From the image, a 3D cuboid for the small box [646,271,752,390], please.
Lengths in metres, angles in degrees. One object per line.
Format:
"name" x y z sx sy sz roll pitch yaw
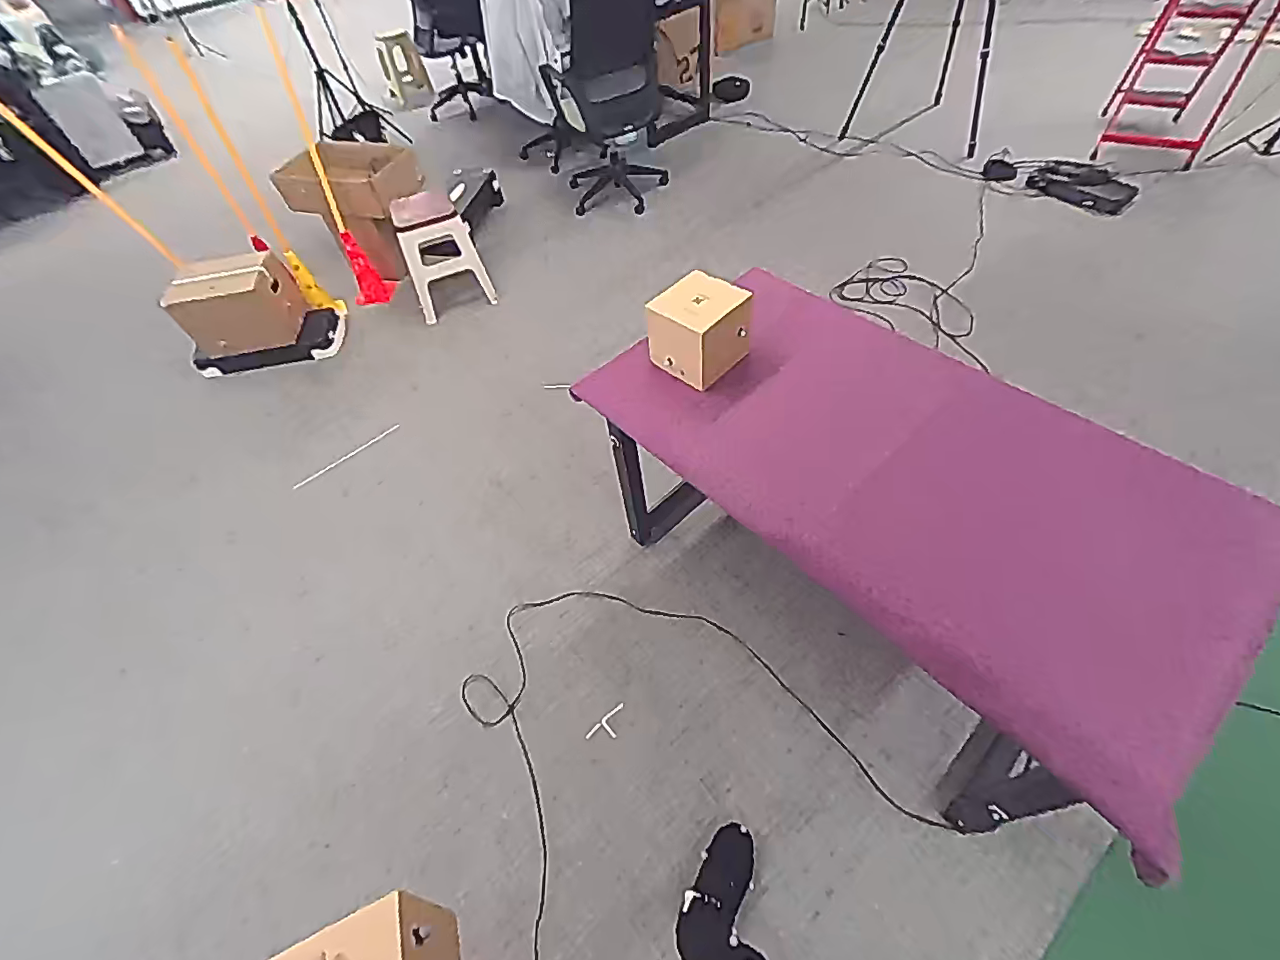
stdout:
"small box" 0.134 -0.339 1.233 0.168 0.176 0.179 36 65 29
